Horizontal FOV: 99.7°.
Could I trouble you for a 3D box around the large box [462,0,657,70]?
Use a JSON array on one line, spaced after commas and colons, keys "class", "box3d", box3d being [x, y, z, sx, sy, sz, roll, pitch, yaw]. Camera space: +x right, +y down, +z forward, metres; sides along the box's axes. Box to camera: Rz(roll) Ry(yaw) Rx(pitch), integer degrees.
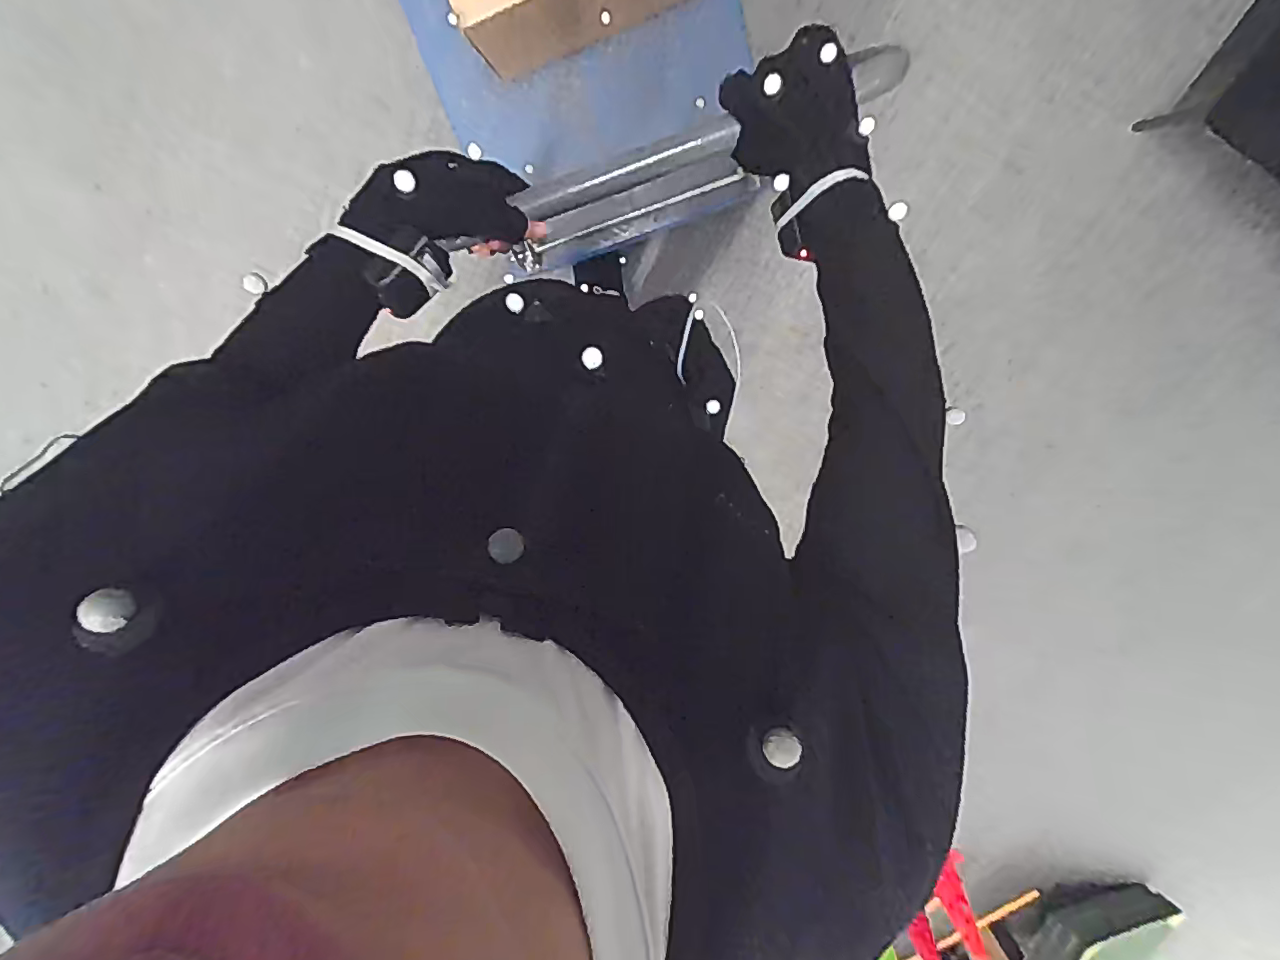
[{"class": "large box", "box3d": [-0.104, -0.890, 0.789, 0.408, 0.320, 0.320, -20, 114, 9]}]
